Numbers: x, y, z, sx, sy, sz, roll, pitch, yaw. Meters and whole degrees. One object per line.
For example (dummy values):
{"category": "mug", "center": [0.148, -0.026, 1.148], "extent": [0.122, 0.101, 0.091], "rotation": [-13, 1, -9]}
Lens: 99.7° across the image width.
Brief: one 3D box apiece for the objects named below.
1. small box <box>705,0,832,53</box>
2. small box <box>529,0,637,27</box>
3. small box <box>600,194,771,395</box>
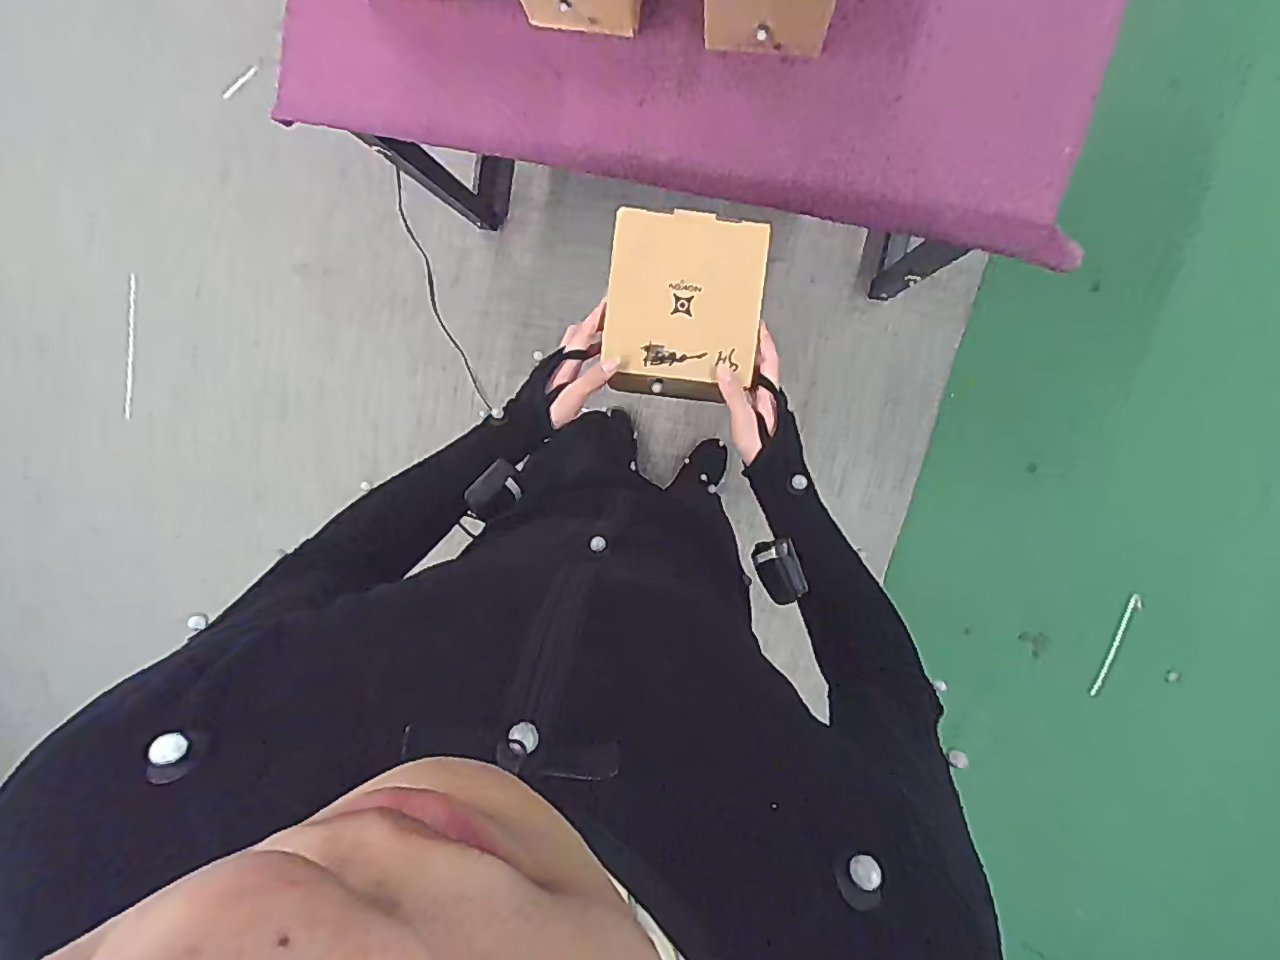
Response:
{"category": "small box", "center": [0.176, -0.697, 0.687], "extent": [0.168, 0.176, 0.179], "rotation": [10, 100, 5]}
{"category": "small box", "center": [-0.082, -0.754, 0.709], "extent": [0.168, 0.176, 0.179], "rotation": [11, 100, 5]}
{"category": "small box", "center": [0.047, -0.208, 0.651], "extent": [0.168, 0.176, 0.179], "rotation": [7, 92, 0]}
